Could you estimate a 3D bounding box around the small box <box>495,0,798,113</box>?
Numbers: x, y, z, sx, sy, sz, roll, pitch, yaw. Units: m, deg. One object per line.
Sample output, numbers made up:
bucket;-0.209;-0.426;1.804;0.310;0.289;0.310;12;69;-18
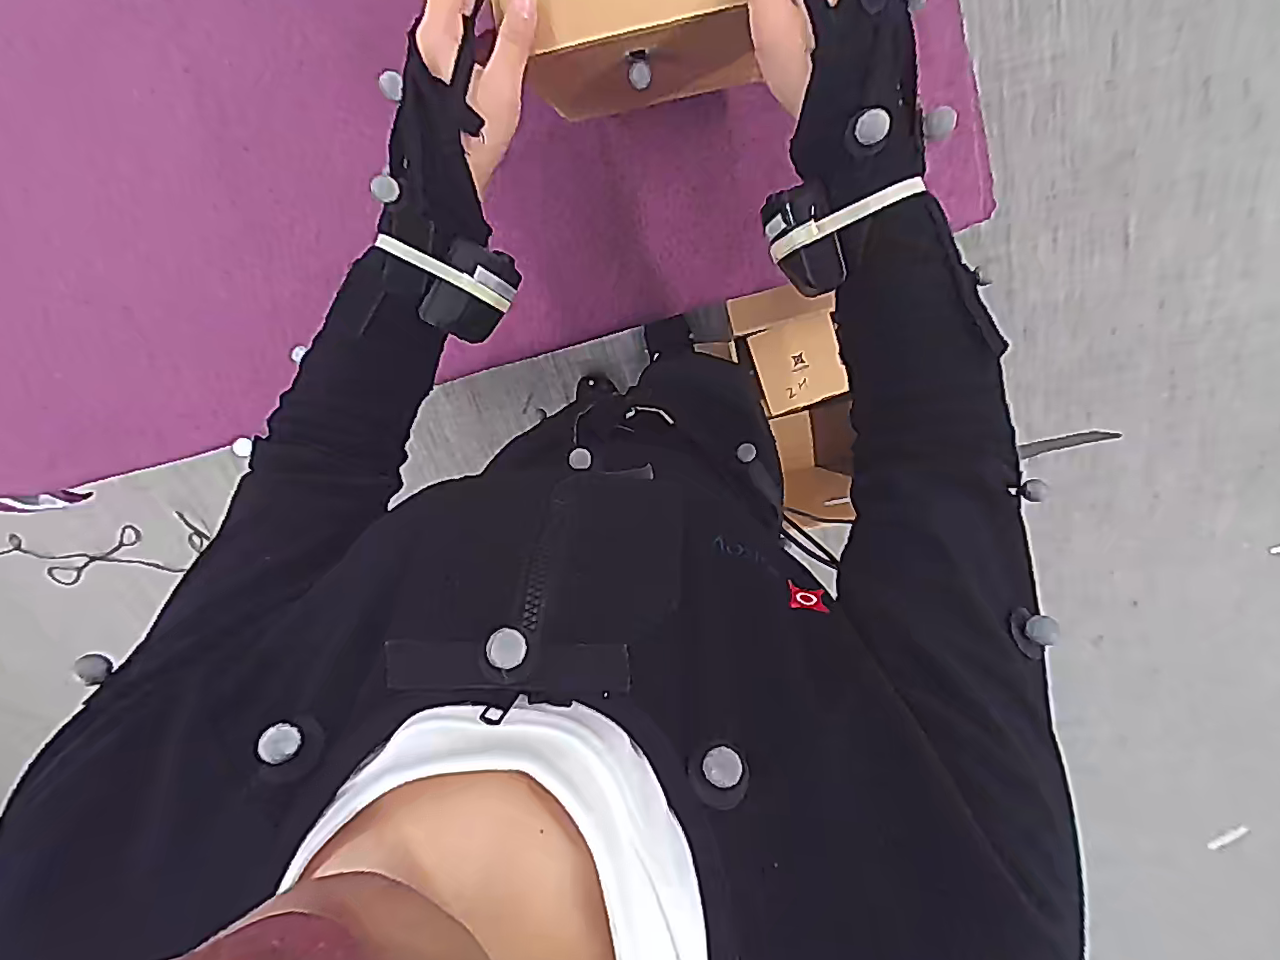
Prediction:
small box;0.002;-0.365;0.352;0.179;0.176;0.168;-5;113;11
